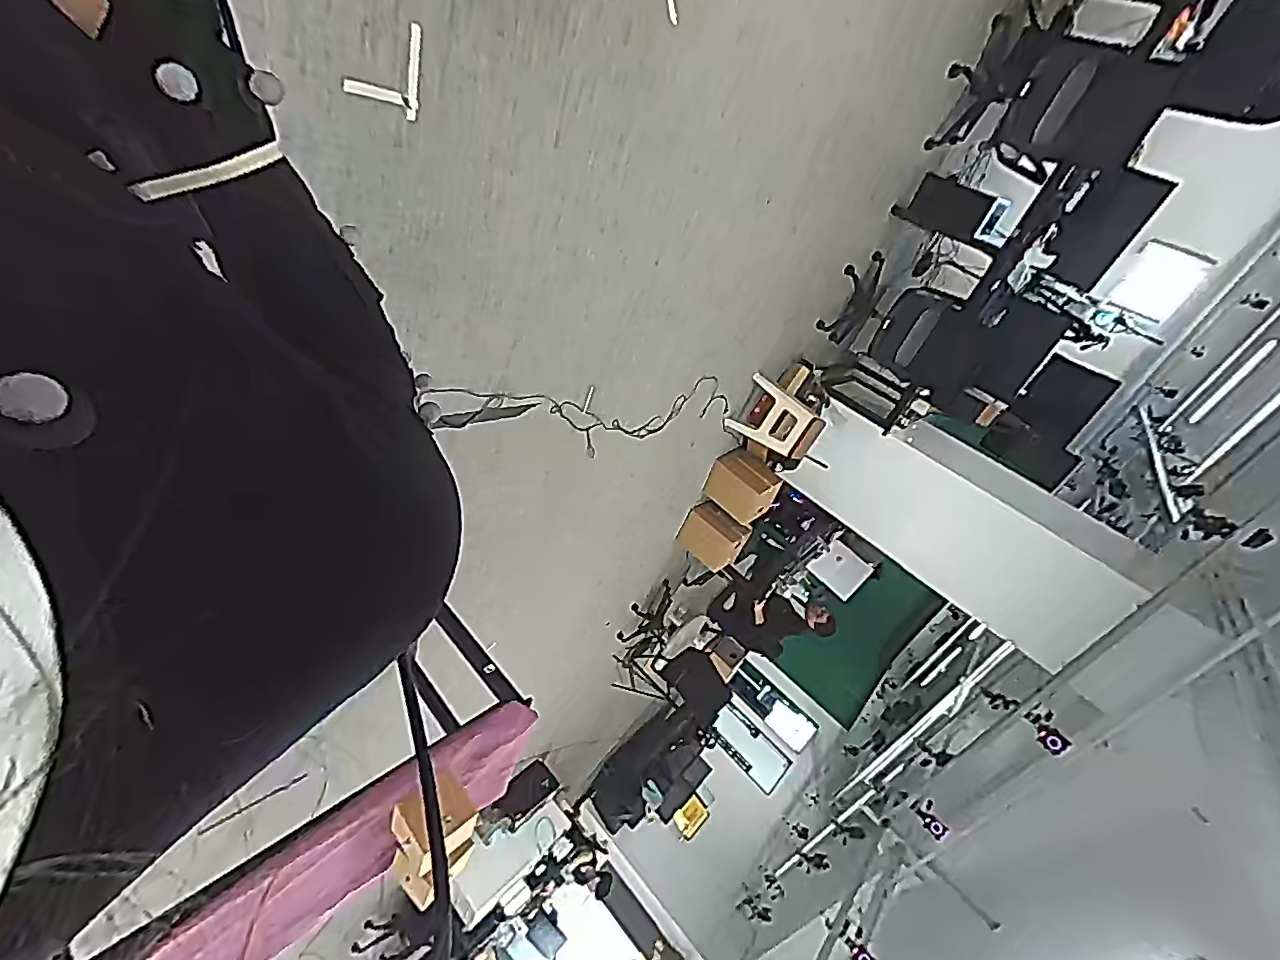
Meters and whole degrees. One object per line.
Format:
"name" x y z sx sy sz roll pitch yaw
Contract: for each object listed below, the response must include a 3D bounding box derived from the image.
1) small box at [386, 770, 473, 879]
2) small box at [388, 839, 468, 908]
"small box" -0.624 1.006 1.592 0.179 0.176 0.168 -21 142 -47
"small box" -0.690 1.224 1.747 0.179 0.168 0.176 -26 147 -55
